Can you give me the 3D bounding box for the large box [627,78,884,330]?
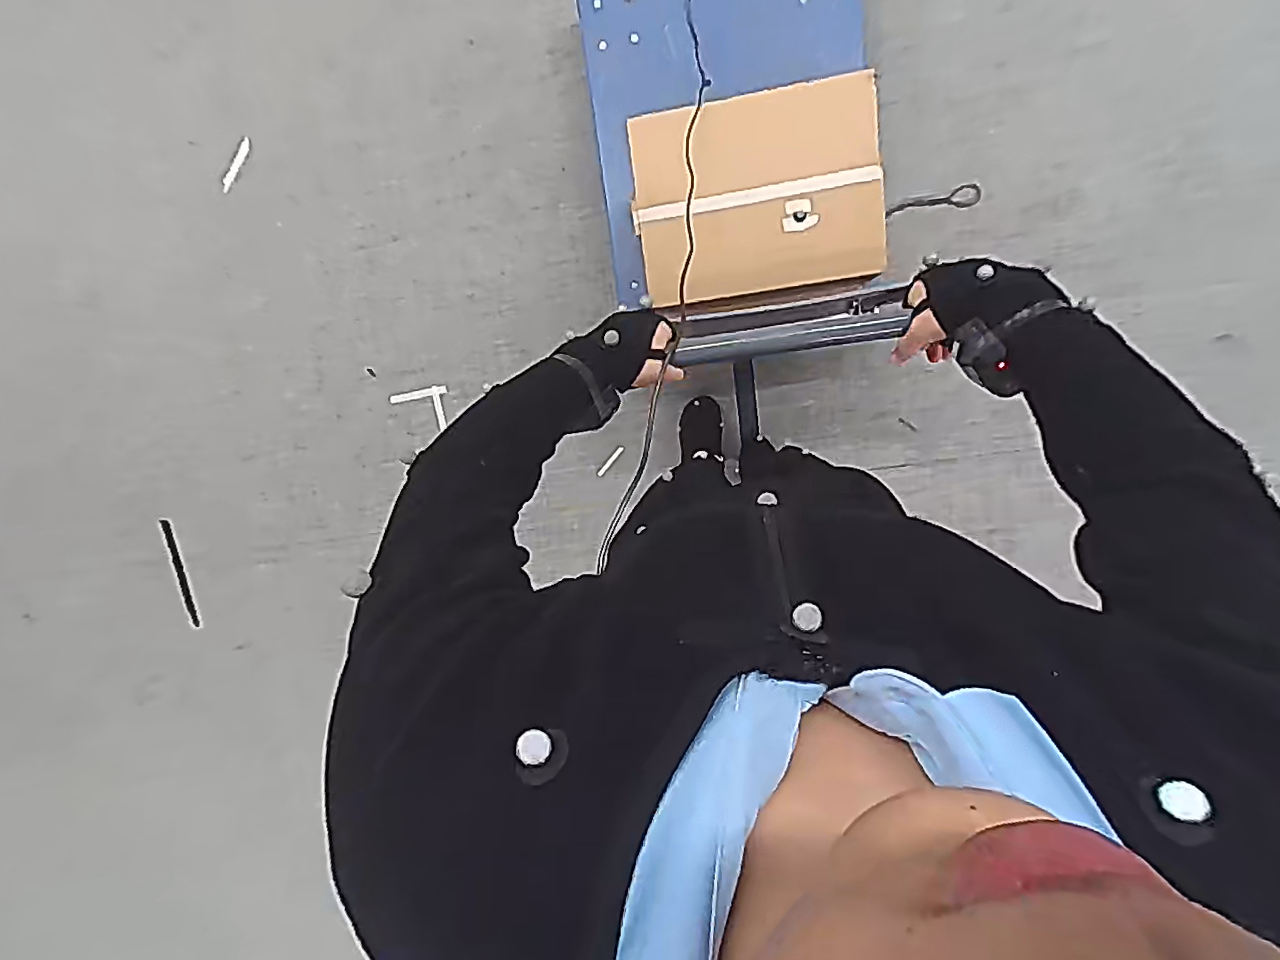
[{"bbox_3d":[0.208,-0.493,1.054,0.408,0.320,0.320,-7,100,7],"label":"large box"}]
